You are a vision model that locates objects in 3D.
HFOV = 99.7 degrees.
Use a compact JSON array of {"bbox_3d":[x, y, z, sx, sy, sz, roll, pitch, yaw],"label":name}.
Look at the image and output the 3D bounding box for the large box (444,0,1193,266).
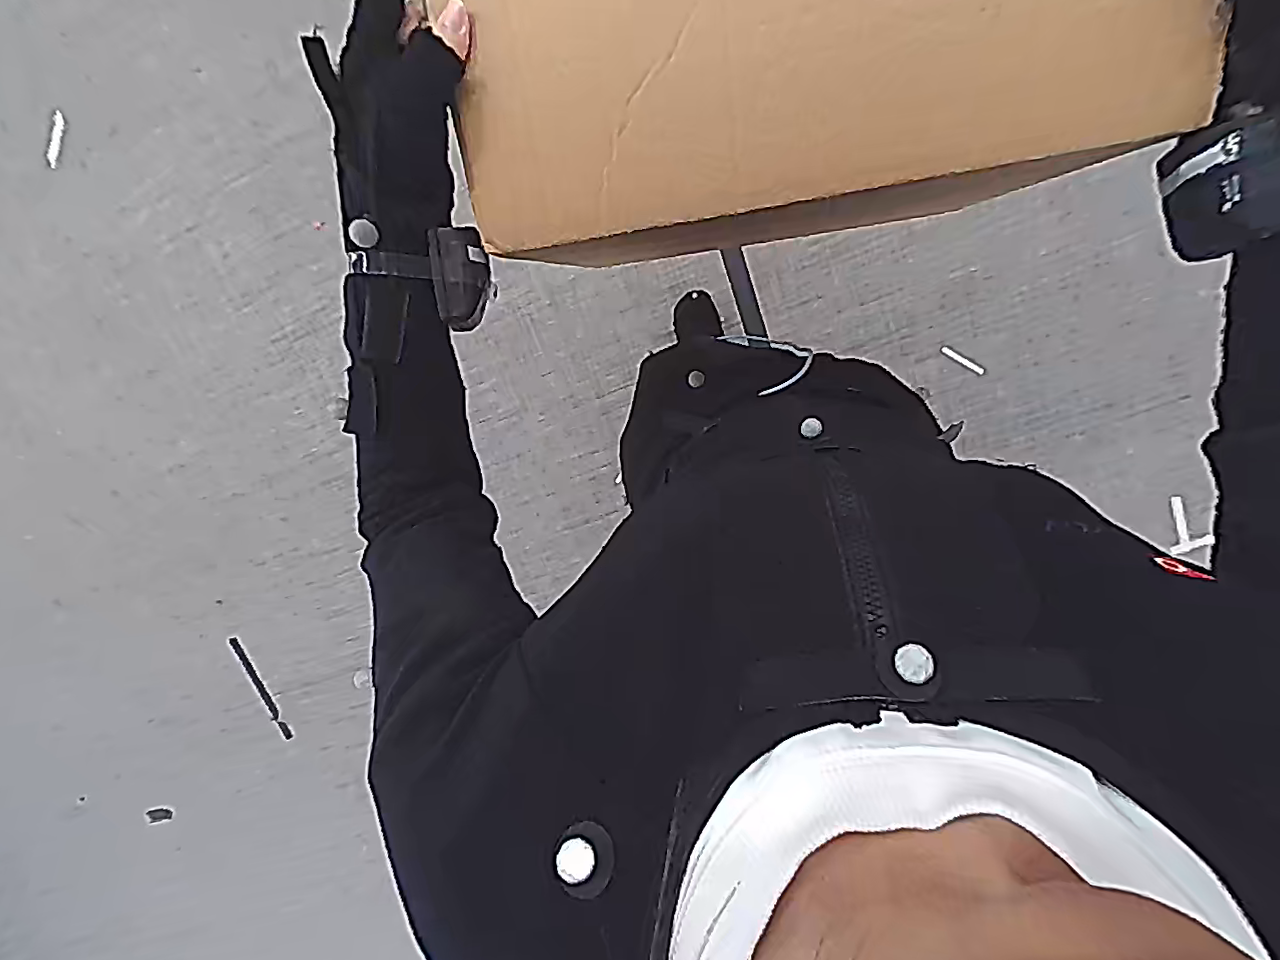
[{"bbox_3d":[0.092,-0.370,0.421,0.408,0.320,0.320,-6,109,10],"label":"large box"}]
